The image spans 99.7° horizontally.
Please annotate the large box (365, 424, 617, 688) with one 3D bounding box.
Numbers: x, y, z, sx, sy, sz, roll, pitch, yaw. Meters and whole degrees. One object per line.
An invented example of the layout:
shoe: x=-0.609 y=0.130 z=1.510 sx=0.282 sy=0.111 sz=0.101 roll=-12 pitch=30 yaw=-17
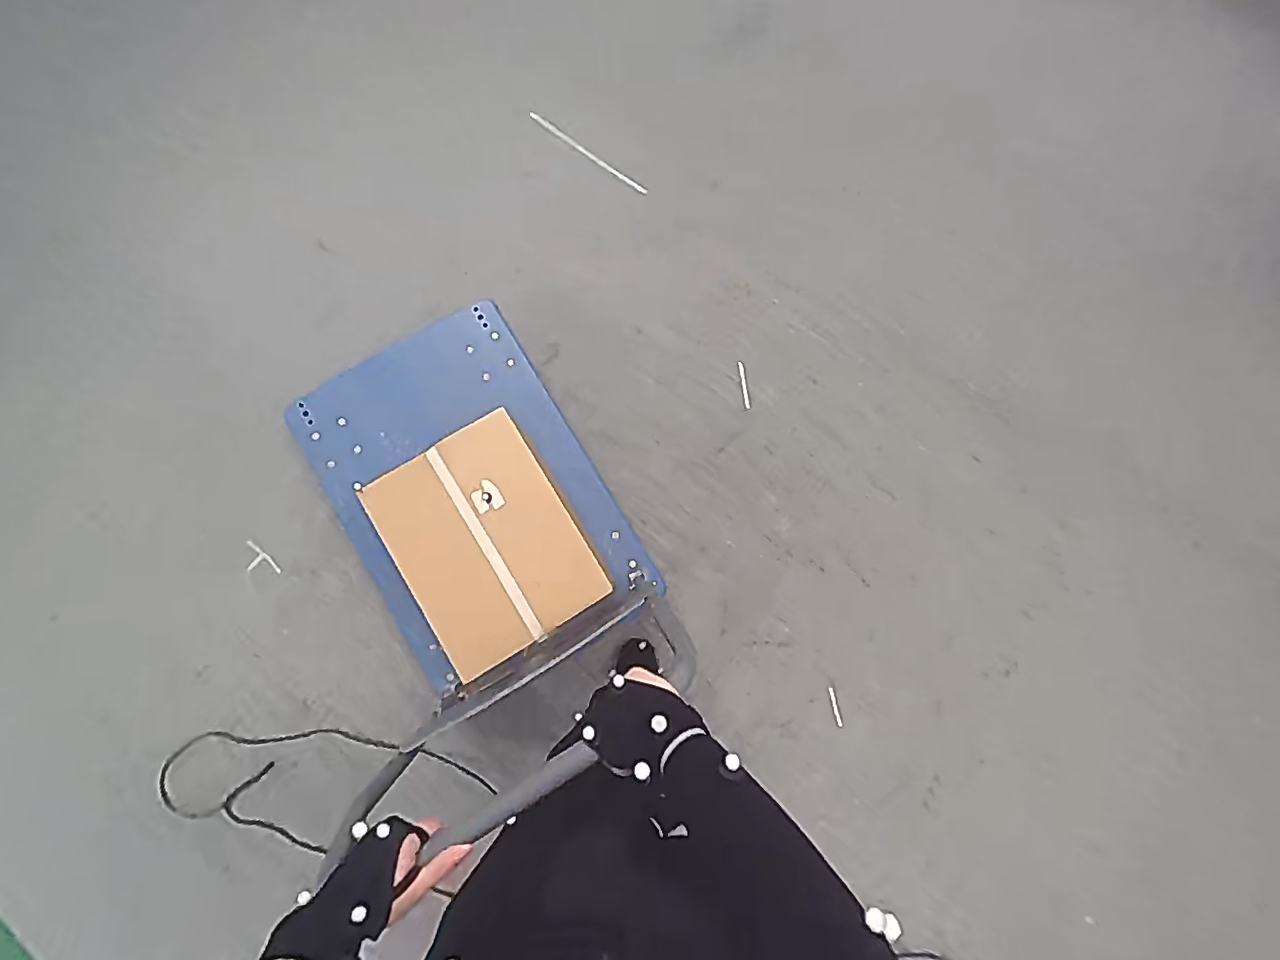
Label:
large box: x=-0.284 y=0.156 z=1.153 sx=0.320 sy=0.320 sz=0.408 roll=-32 pitch=83 yaw=-6
